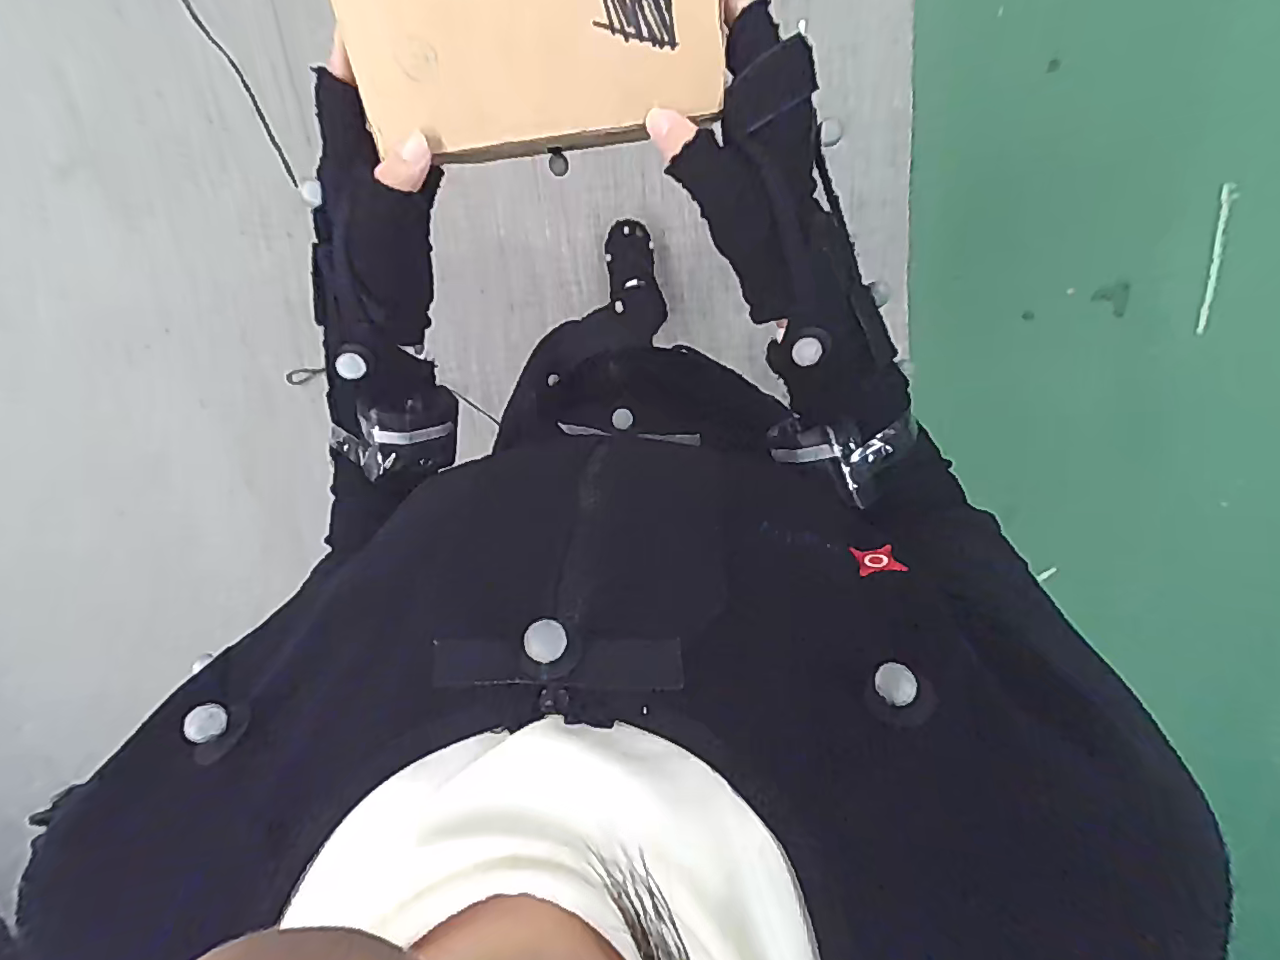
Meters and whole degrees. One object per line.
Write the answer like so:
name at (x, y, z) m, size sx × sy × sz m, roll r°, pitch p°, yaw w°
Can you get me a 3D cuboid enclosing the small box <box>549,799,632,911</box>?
small box at (-0.114, 0.921, 1.340) m, size 0.179 × 0.176 × 0.168 m, roll -5°, pitch 106°, yaw 6°
